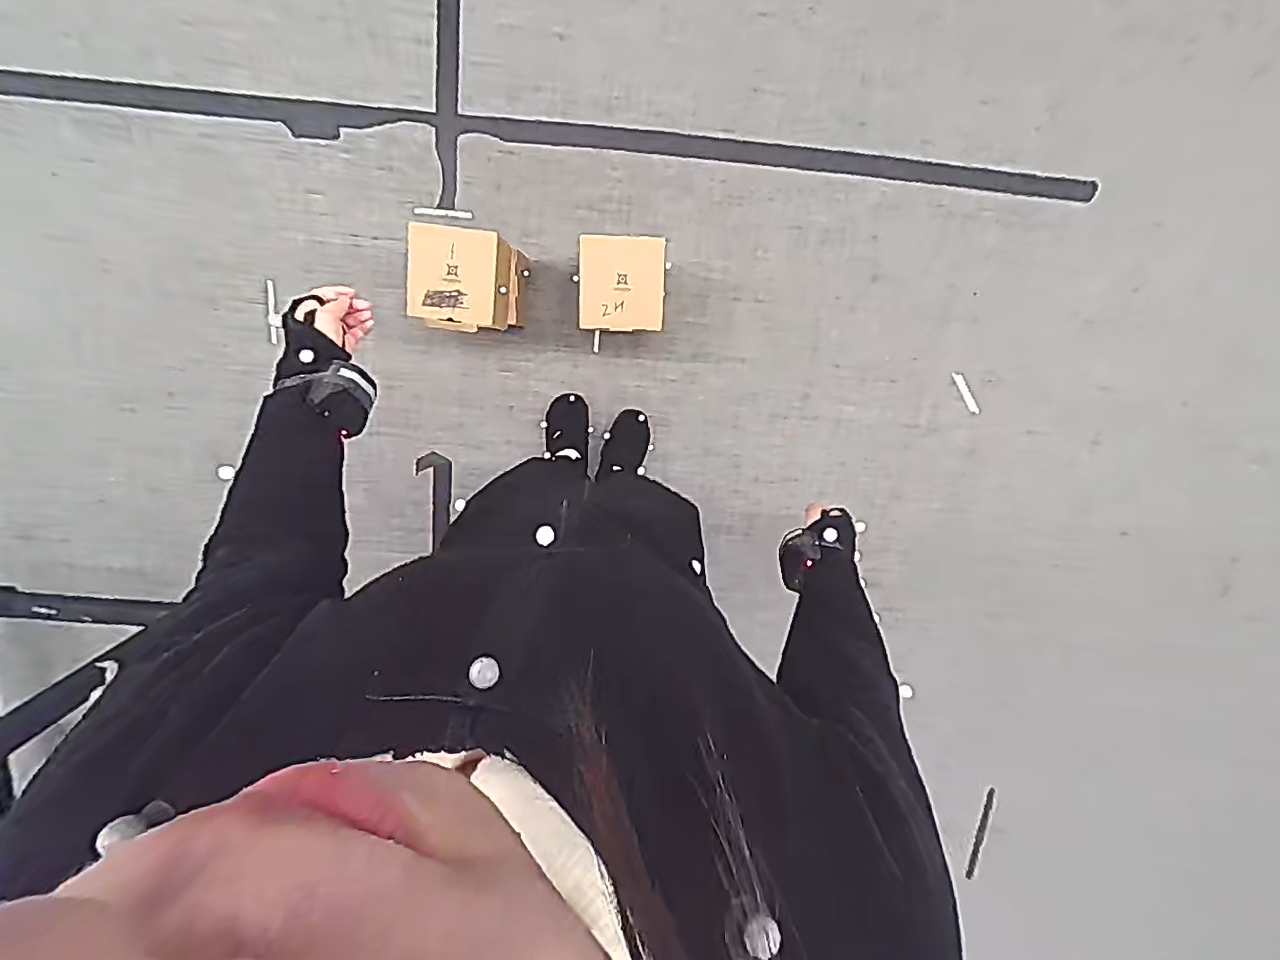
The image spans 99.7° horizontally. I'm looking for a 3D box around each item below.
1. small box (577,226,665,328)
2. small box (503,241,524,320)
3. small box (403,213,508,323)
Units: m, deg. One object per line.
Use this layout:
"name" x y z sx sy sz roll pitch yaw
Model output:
"small box" -0.043 -0.410 1.116 0.168 0.176 0.179 1 105 -3
"small box" -0.366 -0.463 1.254 0.179 0.176 0.168 3 105 -4
"small box" -0.366 -0.418 1.096 0.168 0.176 0.179 6 103 -6
